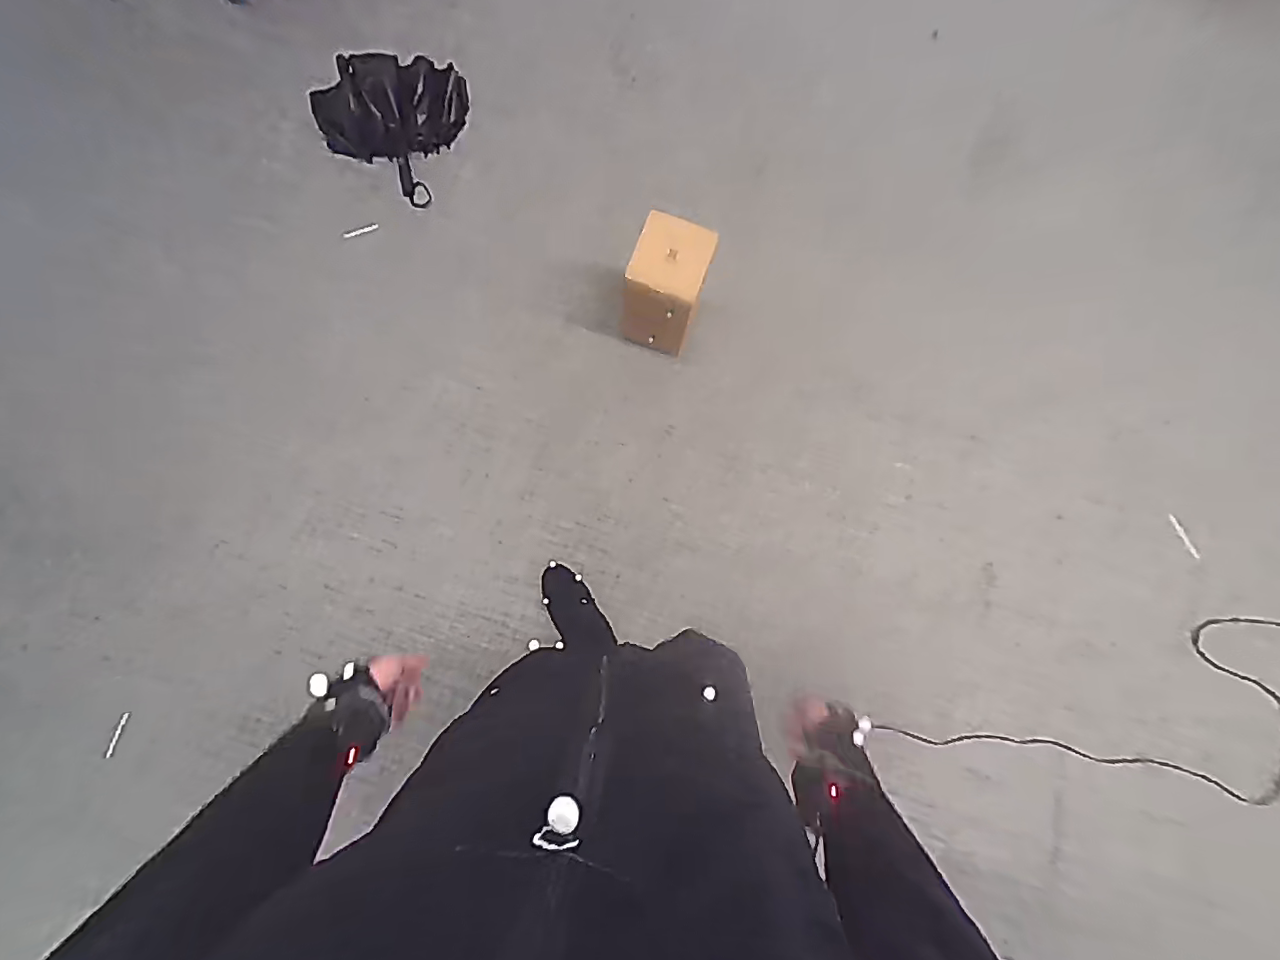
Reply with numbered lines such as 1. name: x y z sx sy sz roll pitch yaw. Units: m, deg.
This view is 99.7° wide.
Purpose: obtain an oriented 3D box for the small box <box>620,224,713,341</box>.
1. small box: 0.058 -0.457 1.280 0.168 0.176 0.179 20 80 0

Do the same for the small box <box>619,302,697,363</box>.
1. small box: 0.051 -0.435 1.441 0.168 0.176 0.179 19 82 1
